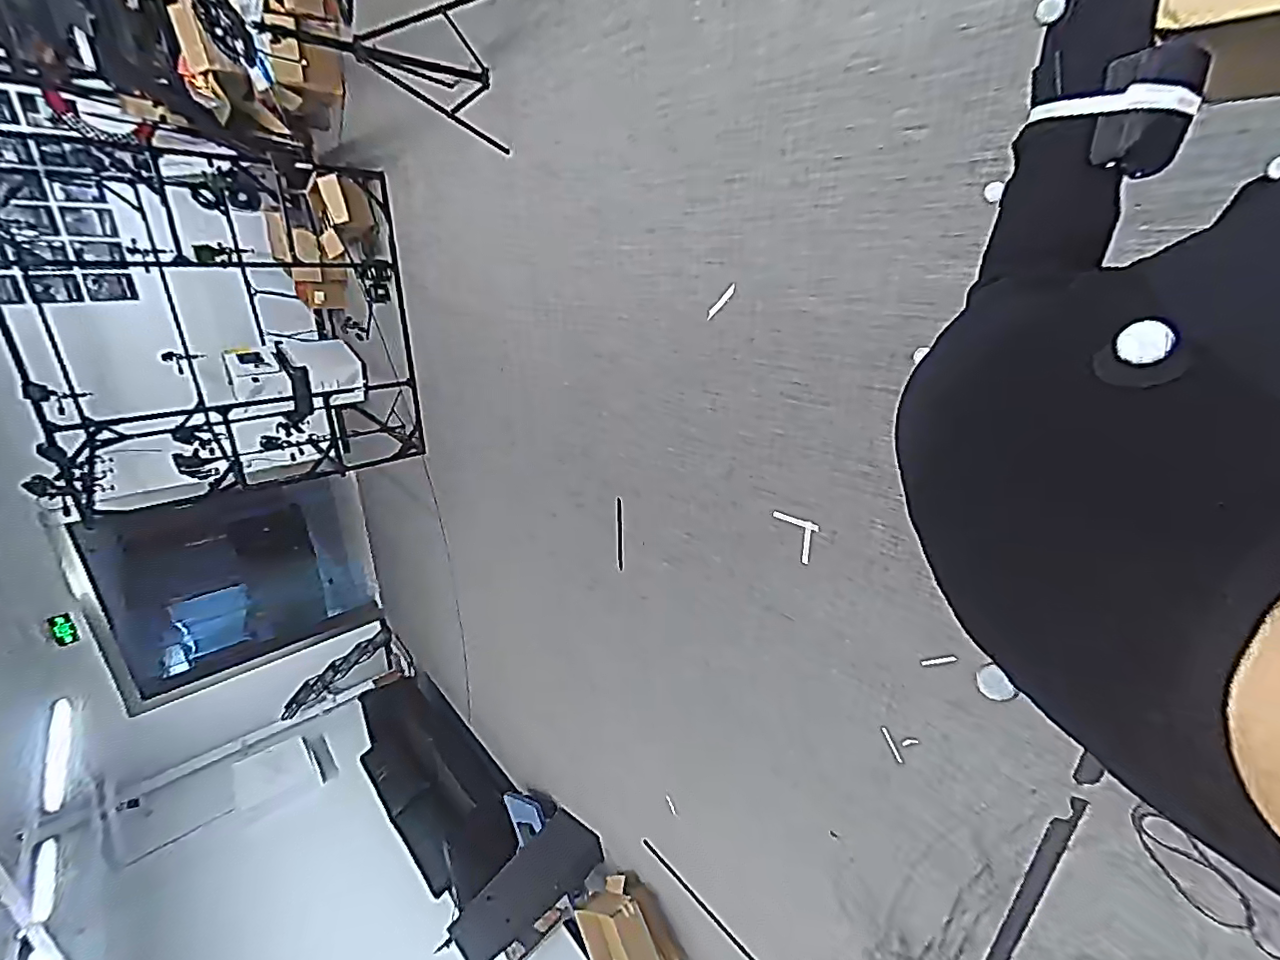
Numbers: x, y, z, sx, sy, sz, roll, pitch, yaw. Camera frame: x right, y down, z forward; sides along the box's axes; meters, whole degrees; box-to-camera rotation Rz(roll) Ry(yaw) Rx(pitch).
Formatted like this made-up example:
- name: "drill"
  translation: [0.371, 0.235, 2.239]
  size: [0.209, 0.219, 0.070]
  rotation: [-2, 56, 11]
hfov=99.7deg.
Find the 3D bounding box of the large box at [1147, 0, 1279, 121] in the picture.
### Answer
- name: "large box"
  translation: [0.567, -0.404, 0.260]
  size: [0.408, 0.320, 0.320]
  rotation: [21, 123, 40]
